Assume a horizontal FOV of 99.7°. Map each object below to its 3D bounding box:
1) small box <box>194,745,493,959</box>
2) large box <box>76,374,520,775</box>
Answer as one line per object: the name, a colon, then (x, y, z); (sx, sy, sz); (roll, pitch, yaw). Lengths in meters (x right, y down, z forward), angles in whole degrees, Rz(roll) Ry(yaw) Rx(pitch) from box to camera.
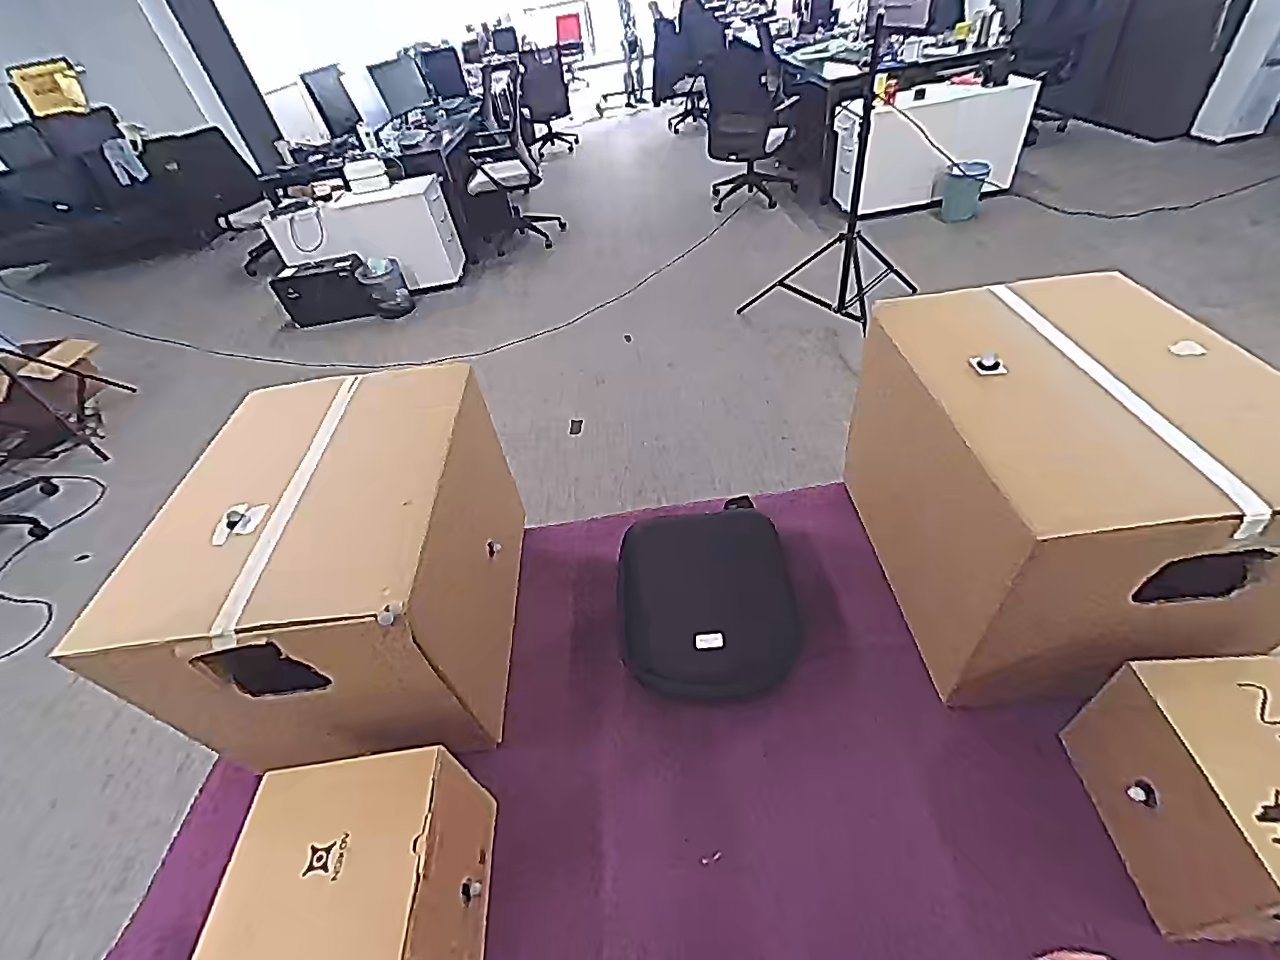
small box: (-0.258, 0.383, 0.516); (0.179, 0.176, 0.168); (-10, 42, 0)
large box: (-0.352, 0.113, 0.716); (0.320, 0.320, 0.408); (-8, 45, 1)
